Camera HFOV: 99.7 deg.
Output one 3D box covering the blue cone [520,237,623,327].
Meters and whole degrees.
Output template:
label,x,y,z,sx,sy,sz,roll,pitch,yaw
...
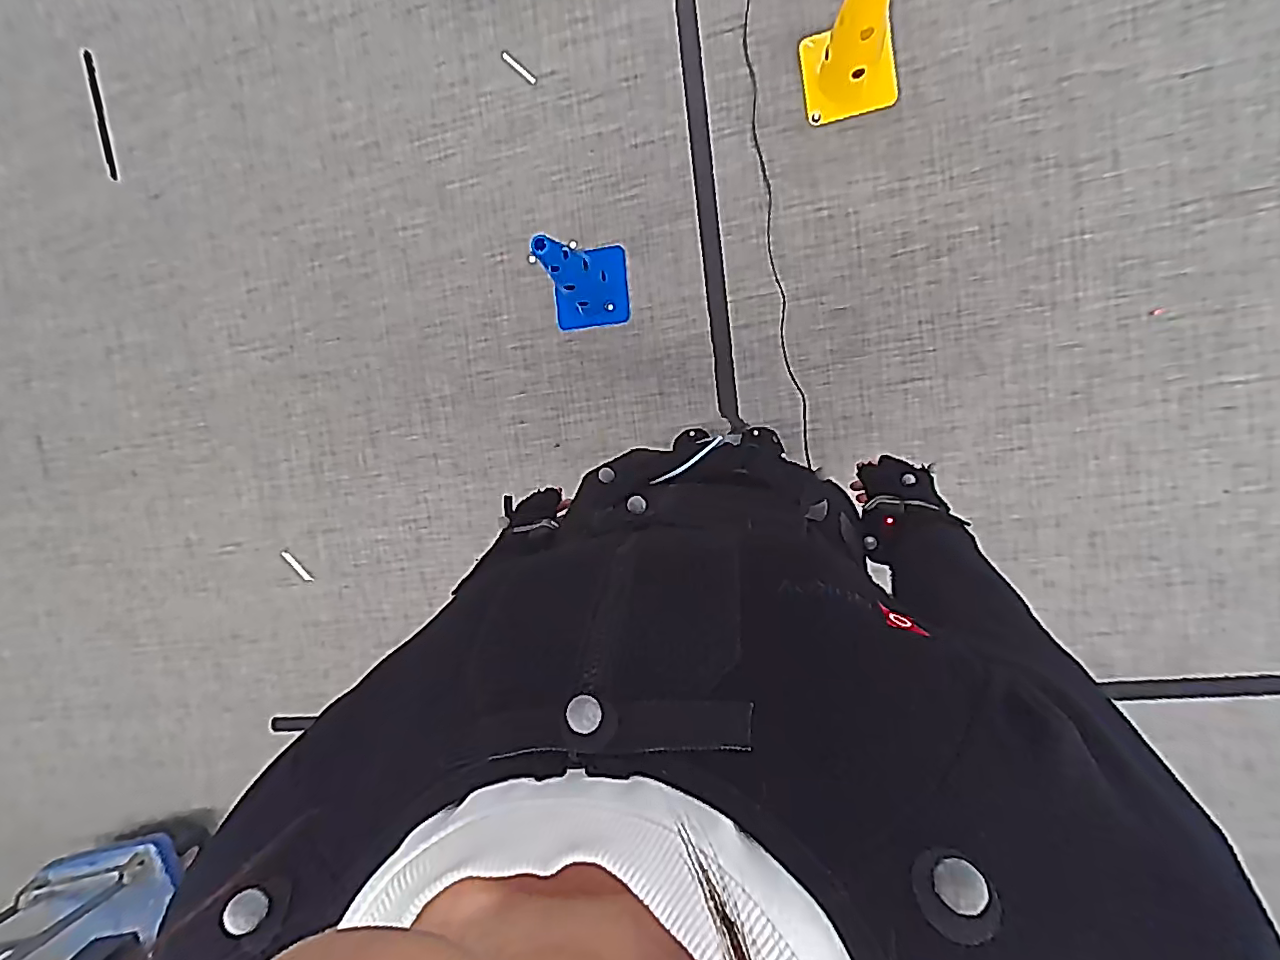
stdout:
label,x,y,z,sx,sy,sz,roll,pitch,yaw
blue cone,-0.176,-0.494,1.271,0.192,0.380,0.193,-2,95,13
